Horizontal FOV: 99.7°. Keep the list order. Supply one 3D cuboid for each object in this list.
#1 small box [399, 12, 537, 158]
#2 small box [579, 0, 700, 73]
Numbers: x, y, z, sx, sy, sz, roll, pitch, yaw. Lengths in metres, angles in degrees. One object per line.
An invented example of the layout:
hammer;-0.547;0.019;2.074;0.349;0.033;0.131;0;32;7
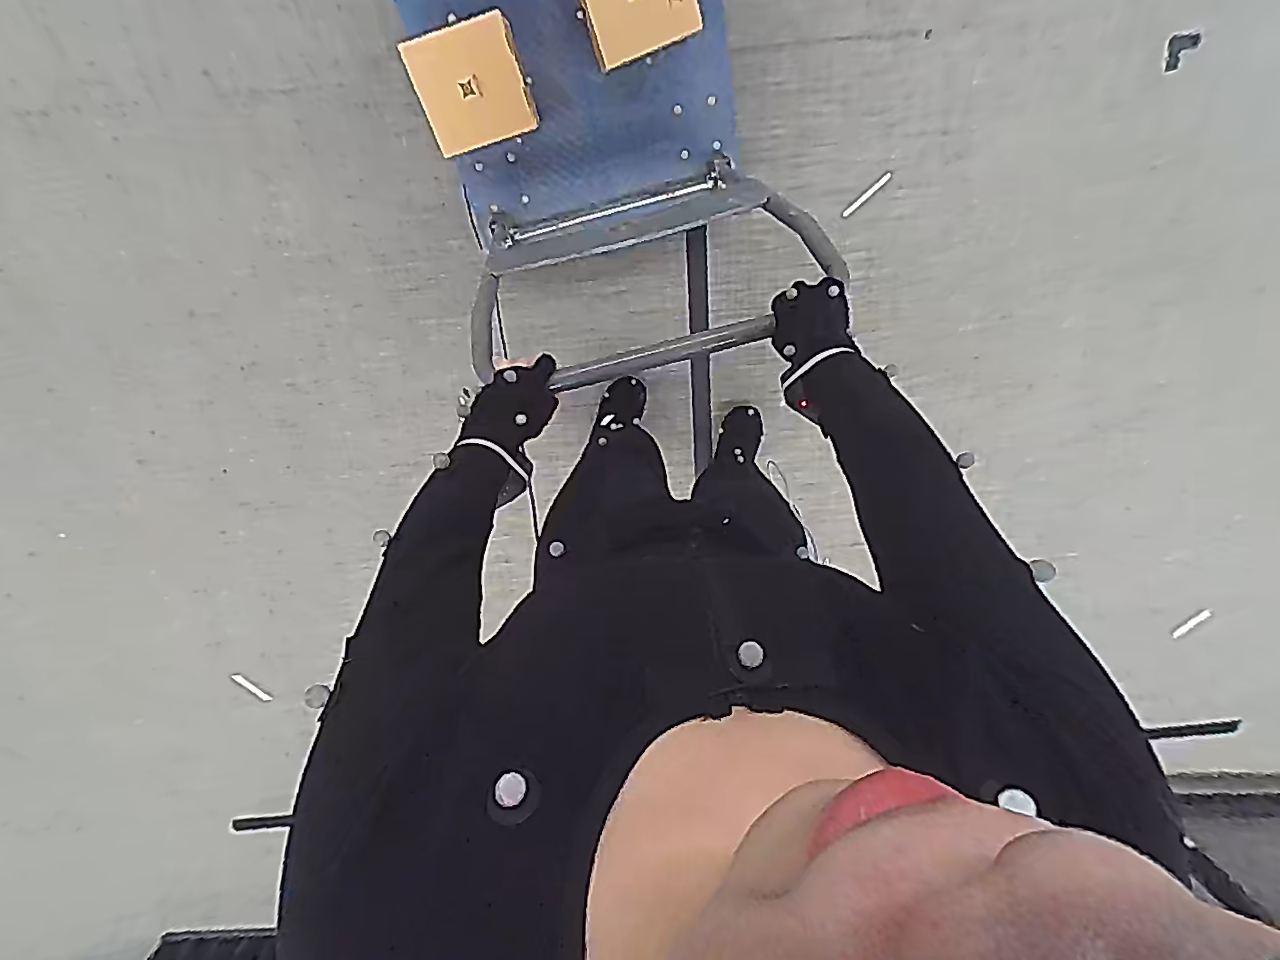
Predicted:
small box;-0.295;-0.698;0.972;0.179;0.176;0.168;-18;125;3
small box;-0.012;-0.822;0.921;0.179;0.176;0.168;-19;125;6
